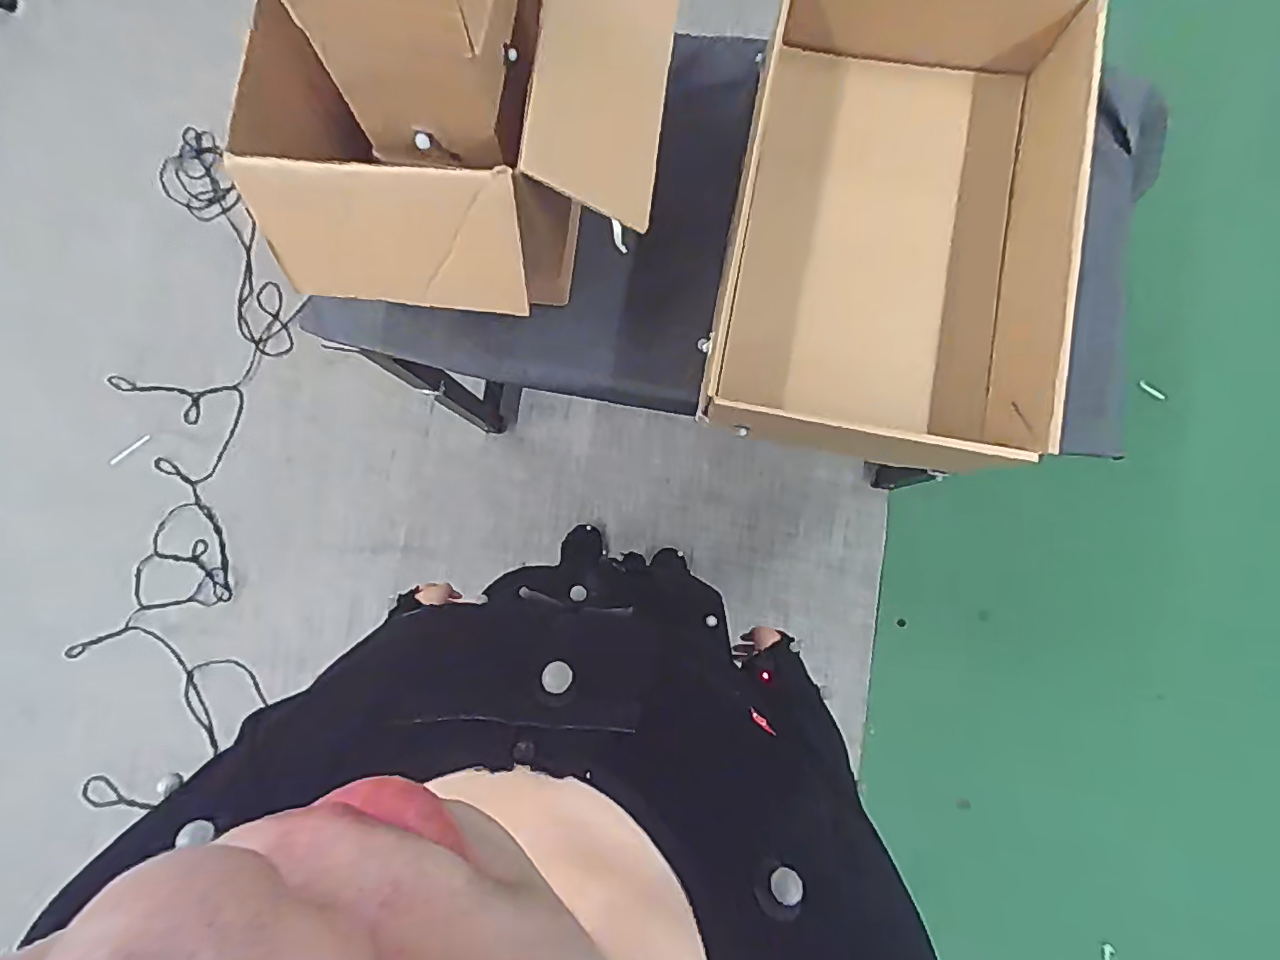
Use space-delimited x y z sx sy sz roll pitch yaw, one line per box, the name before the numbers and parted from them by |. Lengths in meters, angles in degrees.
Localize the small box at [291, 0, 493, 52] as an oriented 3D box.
small box | -0.222 -0.502 0.443 0.179 0.176 0.168 9 82 -2
